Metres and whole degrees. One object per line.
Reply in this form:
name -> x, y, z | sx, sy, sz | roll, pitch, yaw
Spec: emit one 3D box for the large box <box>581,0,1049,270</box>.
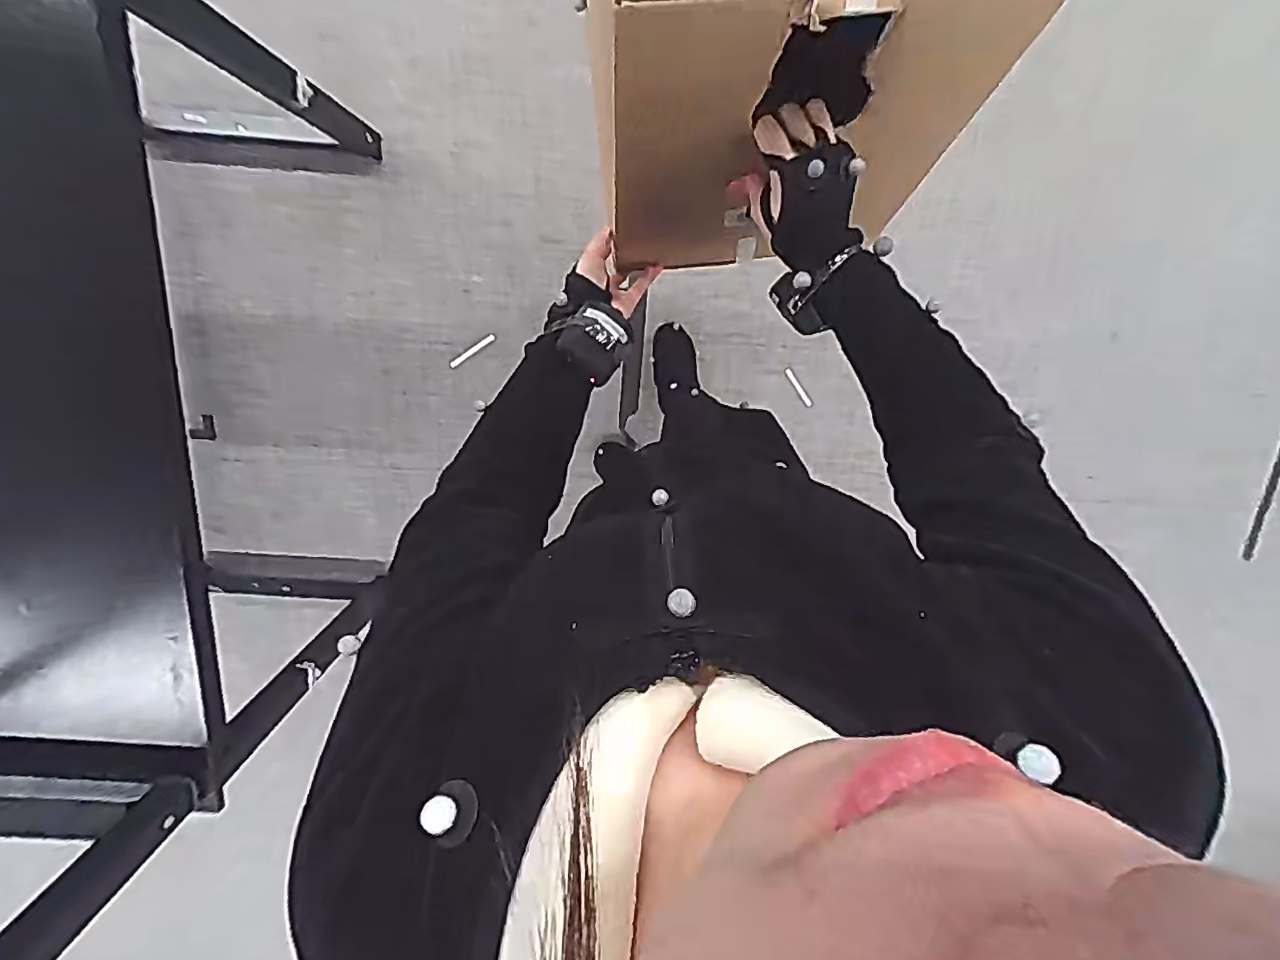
large box -> 0.103, -0.476, 0.520 | 0.320, 0.320, 0.408 | -7, 80, -4
